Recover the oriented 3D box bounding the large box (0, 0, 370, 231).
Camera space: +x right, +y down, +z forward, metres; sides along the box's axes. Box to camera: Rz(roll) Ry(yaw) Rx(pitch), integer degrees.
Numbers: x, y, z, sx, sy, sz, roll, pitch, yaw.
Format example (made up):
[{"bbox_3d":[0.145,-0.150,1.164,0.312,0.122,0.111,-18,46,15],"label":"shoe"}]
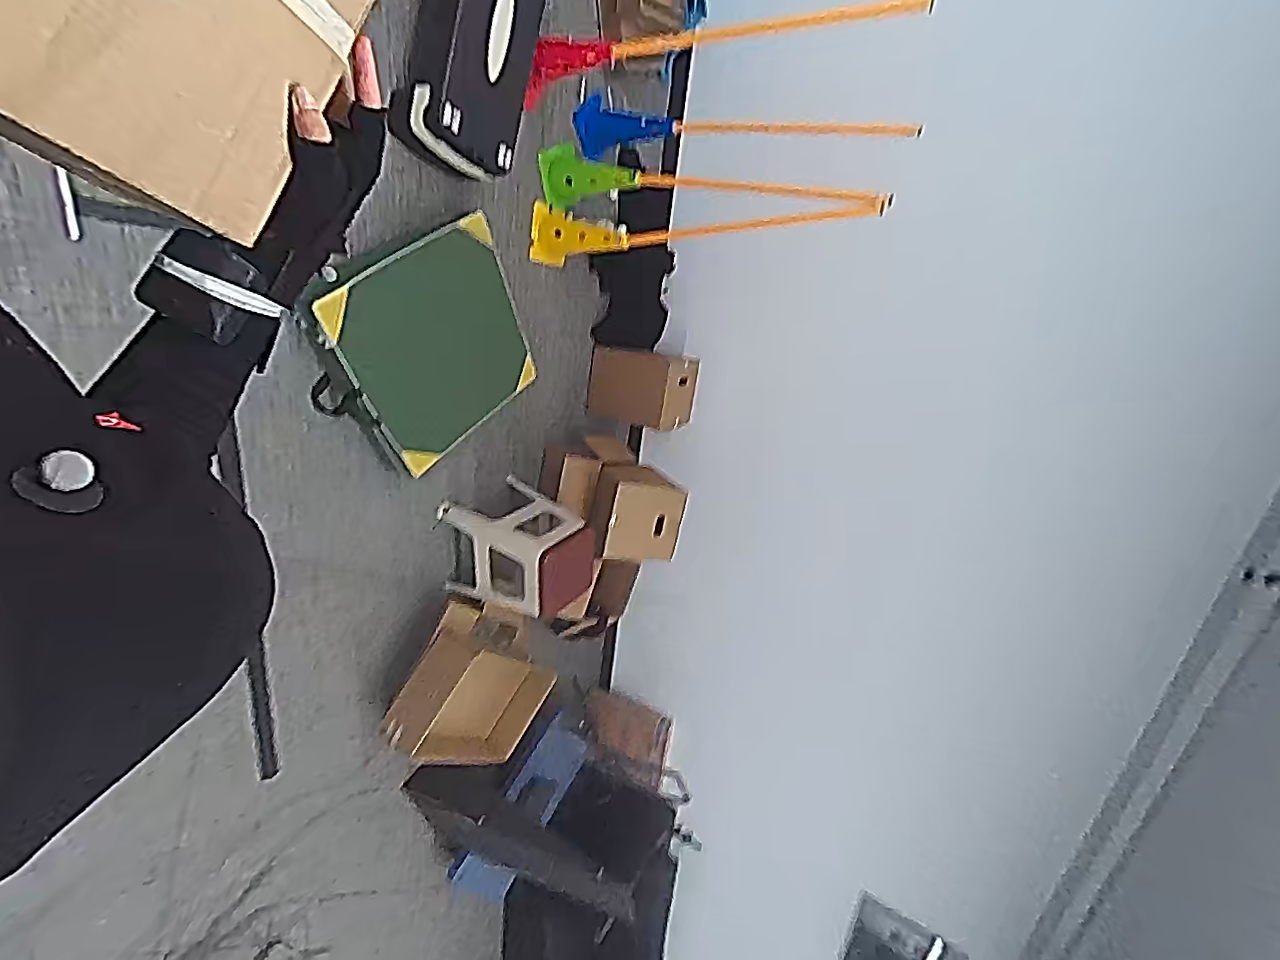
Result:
[{"bbox_3d":[-0.422,-0.411,0.299,0.408,0.320,0.320,25,91,-59],"label":"large box"}]
